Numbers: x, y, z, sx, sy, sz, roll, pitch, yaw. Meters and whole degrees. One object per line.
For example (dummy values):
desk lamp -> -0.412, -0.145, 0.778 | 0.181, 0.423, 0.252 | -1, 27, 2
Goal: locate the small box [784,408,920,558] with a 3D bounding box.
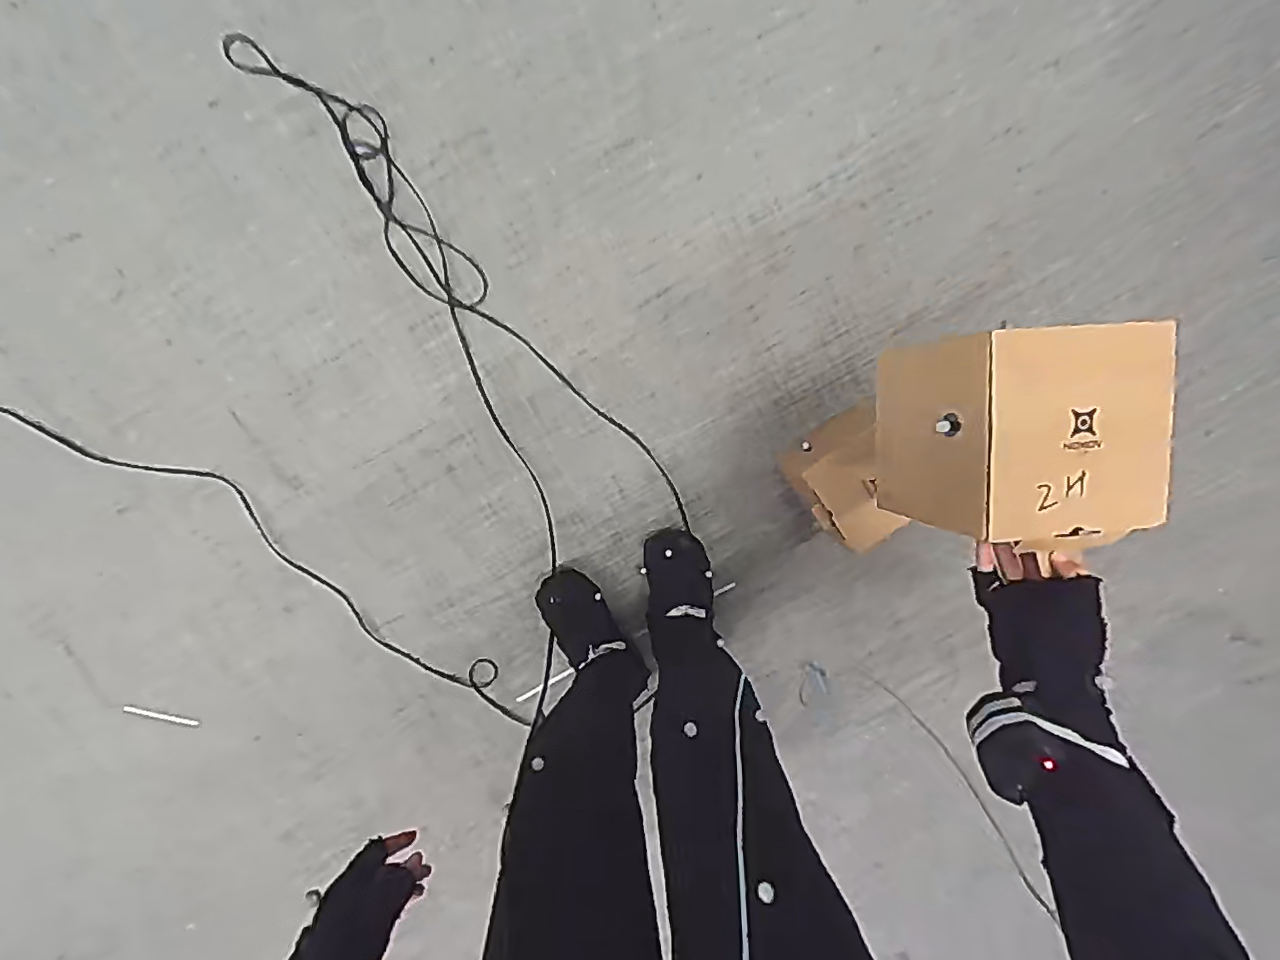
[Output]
small box -> 0.357, -0.003, 0.890 | 0.179, 0.176, 0.168 | -34, 100, 4

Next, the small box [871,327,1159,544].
small box -> 0.347, -0.046, 0.532 | 0.168, 0.176, 0.179 | -4, 98, -6
